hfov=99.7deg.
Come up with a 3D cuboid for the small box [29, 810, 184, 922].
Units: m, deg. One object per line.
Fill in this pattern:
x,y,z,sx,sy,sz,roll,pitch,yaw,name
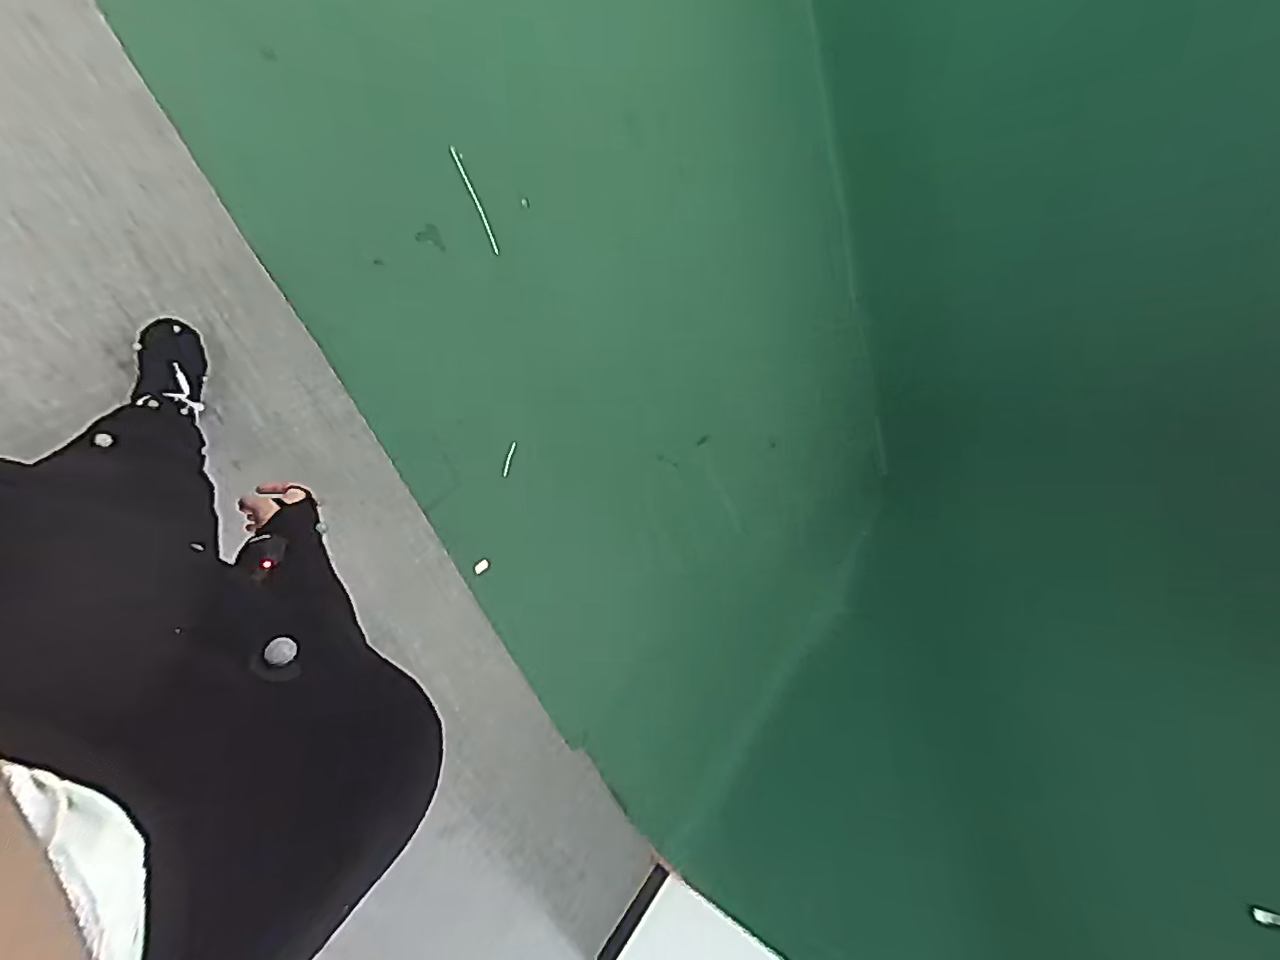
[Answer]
-1.123,0.843,1.145,0.168,0.176,0.179,-41,122,-35,small box
